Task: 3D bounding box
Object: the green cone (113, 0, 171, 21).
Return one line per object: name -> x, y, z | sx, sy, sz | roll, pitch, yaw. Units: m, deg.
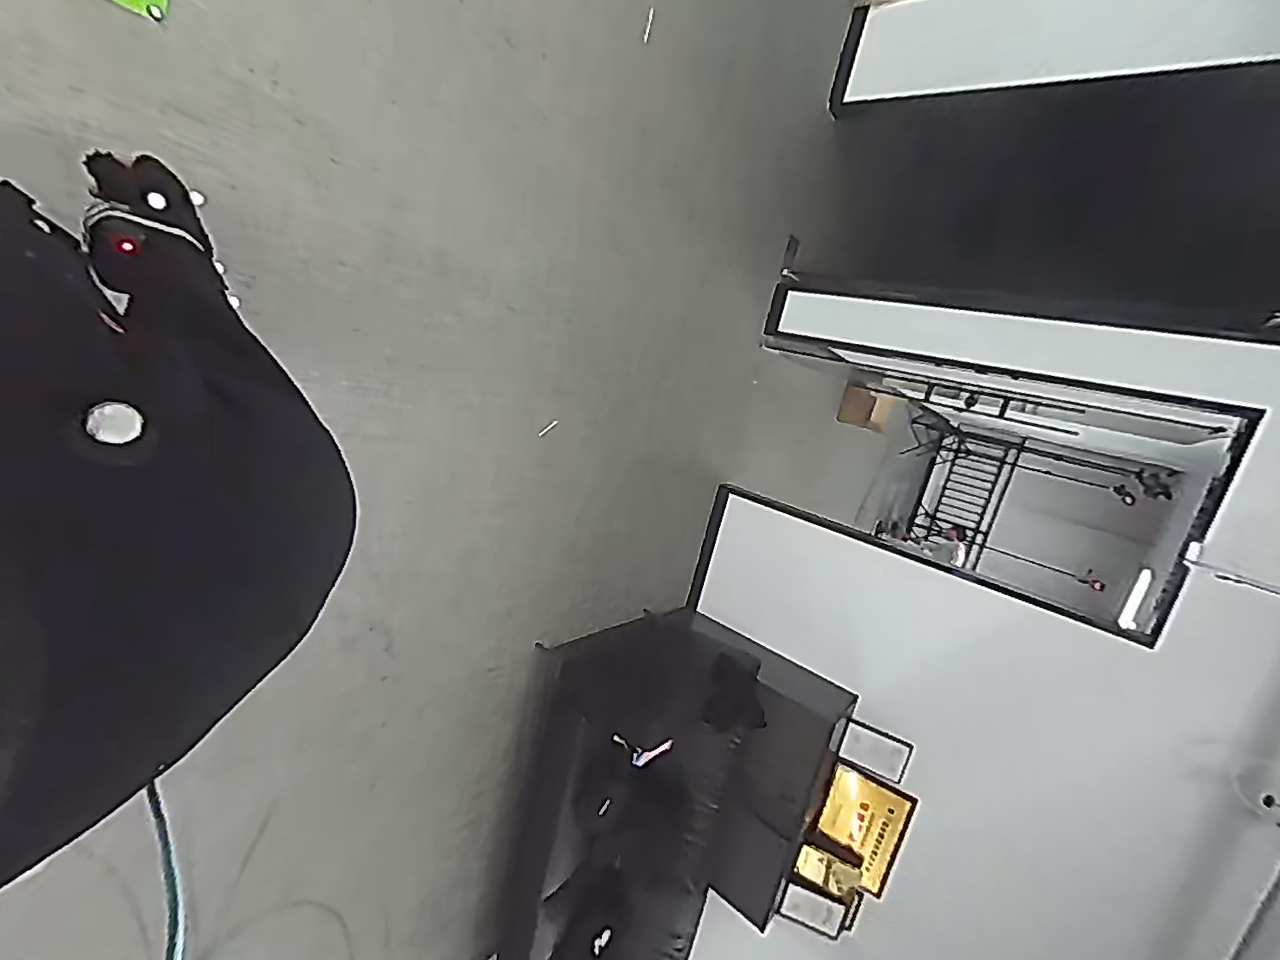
green cone -> -0.779, -0.875, 0.797 | 0.202, 0.368, 0.200 | -2, 109, -51
